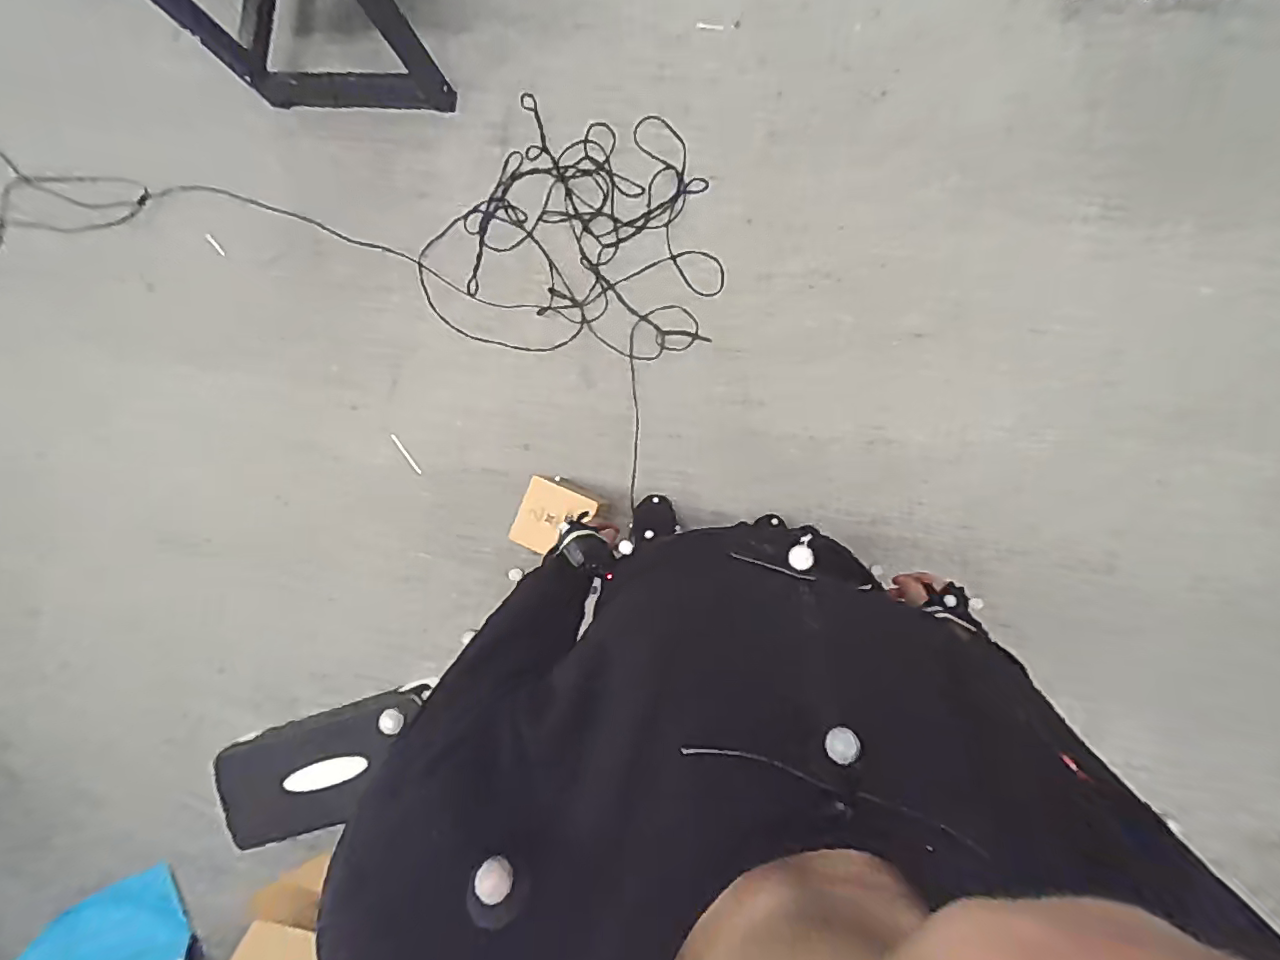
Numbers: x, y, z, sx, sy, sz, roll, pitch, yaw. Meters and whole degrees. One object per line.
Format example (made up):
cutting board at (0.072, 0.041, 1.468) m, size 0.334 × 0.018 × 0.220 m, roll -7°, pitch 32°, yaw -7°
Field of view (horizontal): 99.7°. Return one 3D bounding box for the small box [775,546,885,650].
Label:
small box at (0.430, 0.261, 1.254) m, size 0.179 × 0.176 × 0.168 m, roll 23°, pitch 93°, yaw 8°
